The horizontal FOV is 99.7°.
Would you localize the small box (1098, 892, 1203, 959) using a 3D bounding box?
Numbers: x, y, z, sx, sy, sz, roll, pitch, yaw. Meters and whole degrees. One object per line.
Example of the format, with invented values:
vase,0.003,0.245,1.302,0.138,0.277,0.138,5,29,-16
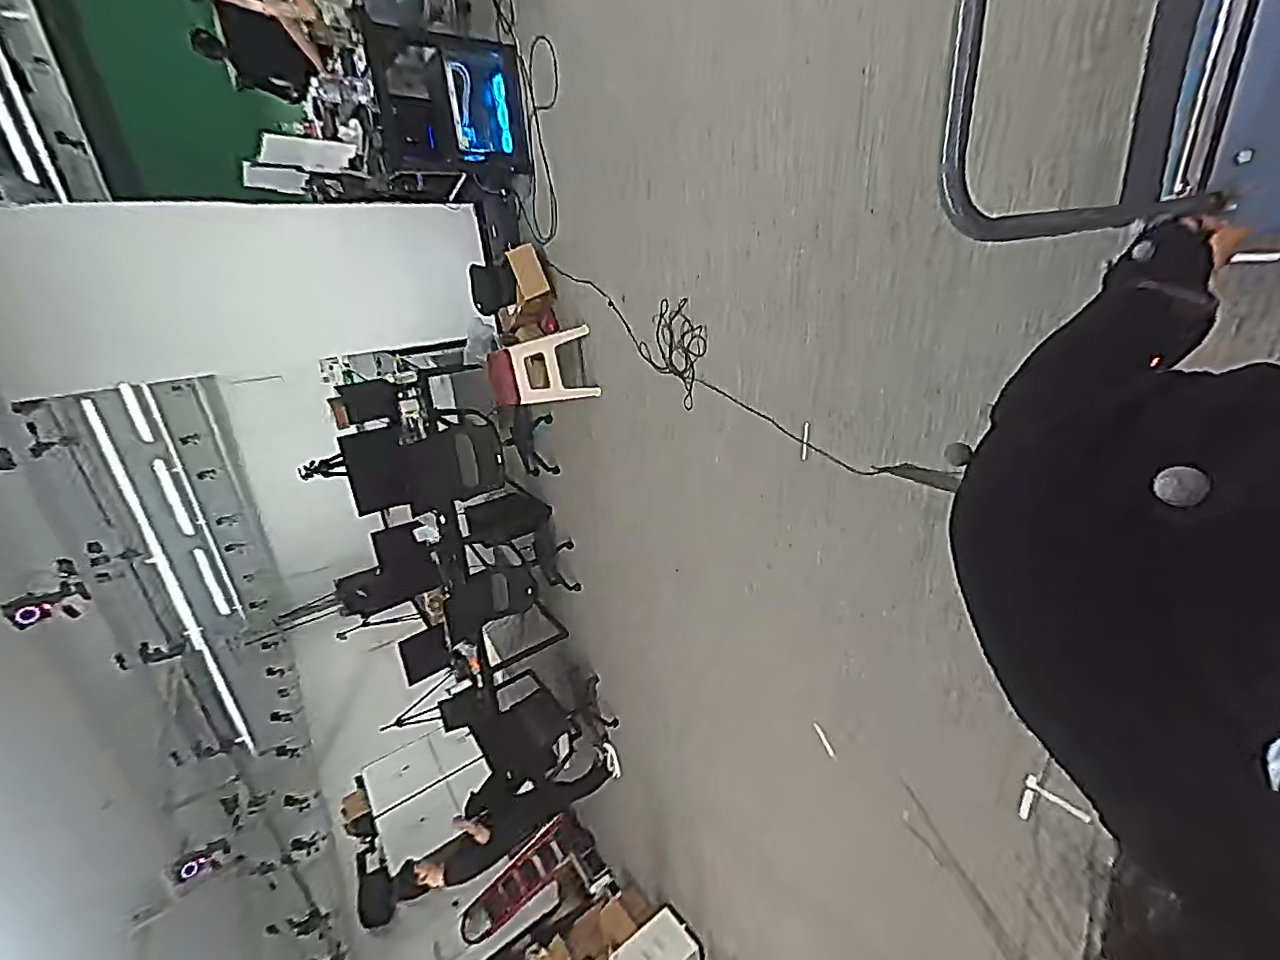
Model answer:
small box,1.310,1.230,1.389,0.168,0.176,0.179,9,114,54
